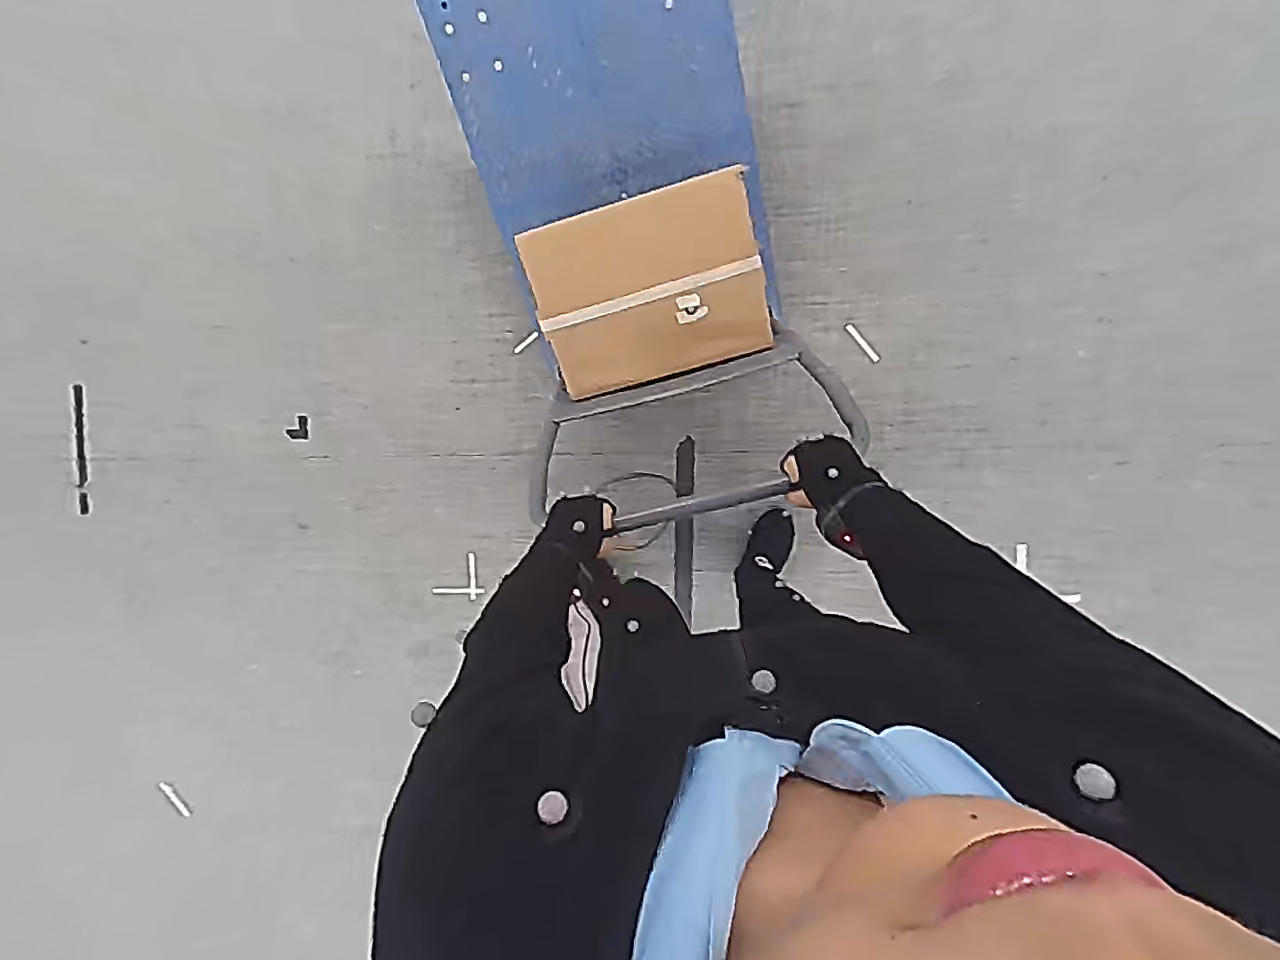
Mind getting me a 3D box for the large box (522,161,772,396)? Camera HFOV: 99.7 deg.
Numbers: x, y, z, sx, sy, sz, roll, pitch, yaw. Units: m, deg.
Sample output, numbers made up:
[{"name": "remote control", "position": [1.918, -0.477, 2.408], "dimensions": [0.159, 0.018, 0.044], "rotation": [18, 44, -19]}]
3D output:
[{"name": "large box", "position": [0.017, -0.413, 1.129], "dimensions": [0.408, 0.320, 0.320], "rotation": [-16, 115, 6]}]
